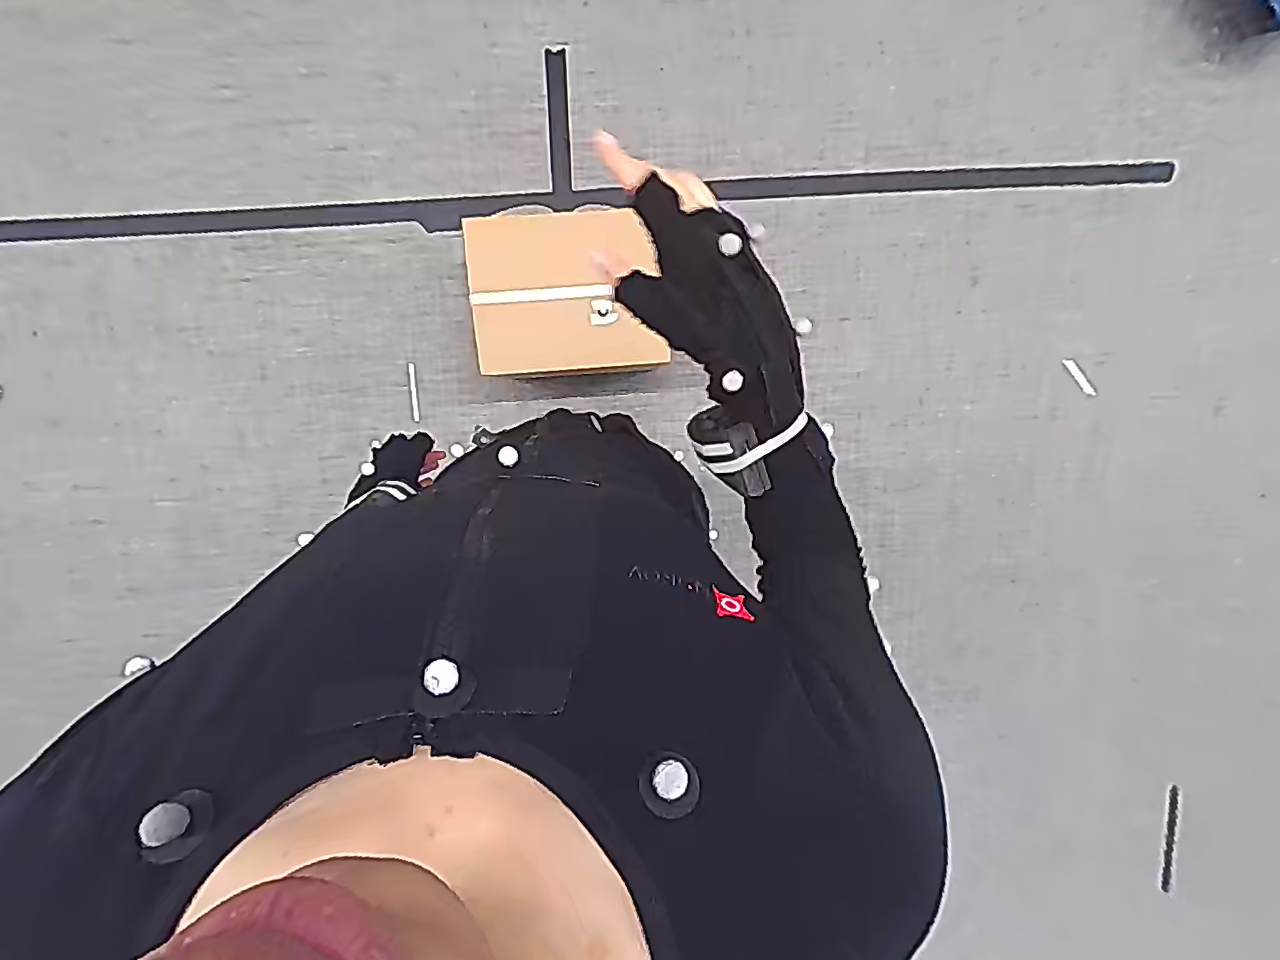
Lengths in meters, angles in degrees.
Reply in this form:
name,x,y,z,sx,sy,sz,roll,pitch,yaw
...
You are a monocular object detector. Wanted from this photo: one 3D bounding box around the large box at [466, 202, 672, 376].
name,x,y,z,sx,sy,sz,roll,pitch,yaw
large box,-0.152,-0.421,1.262,0.408,0.320,0.320,-5,100,-3
